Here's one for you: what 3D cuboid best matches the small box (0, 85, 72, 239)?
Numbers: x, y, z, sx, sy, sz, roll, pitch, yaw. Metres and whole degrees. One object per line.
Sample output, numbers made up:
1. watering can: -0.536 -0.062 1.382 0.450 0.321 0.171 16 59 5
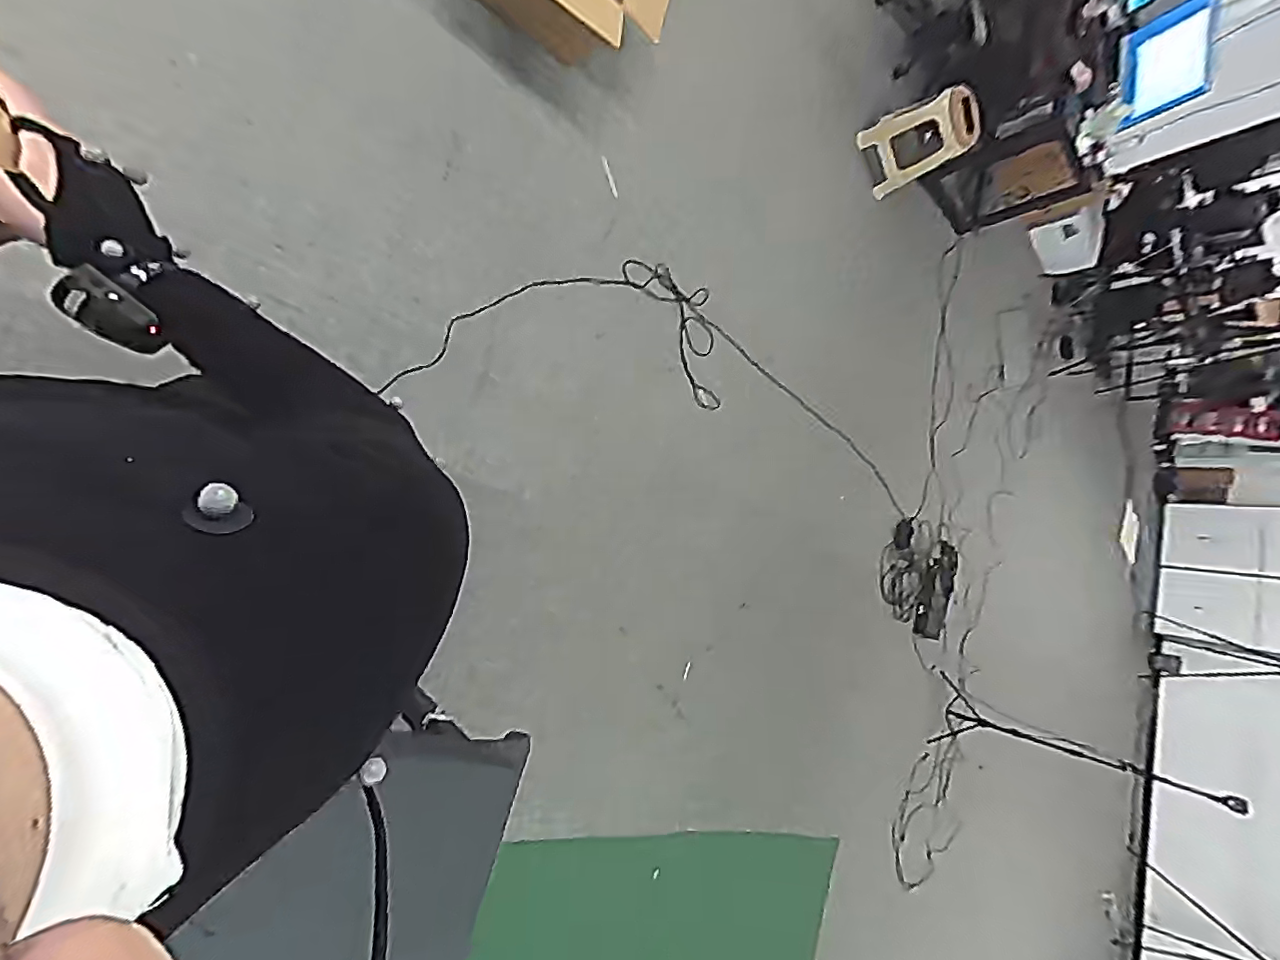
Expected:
1. small box: -0.596 -0.282 0.408 0.179 0.176 0.168 -34 114 -25
